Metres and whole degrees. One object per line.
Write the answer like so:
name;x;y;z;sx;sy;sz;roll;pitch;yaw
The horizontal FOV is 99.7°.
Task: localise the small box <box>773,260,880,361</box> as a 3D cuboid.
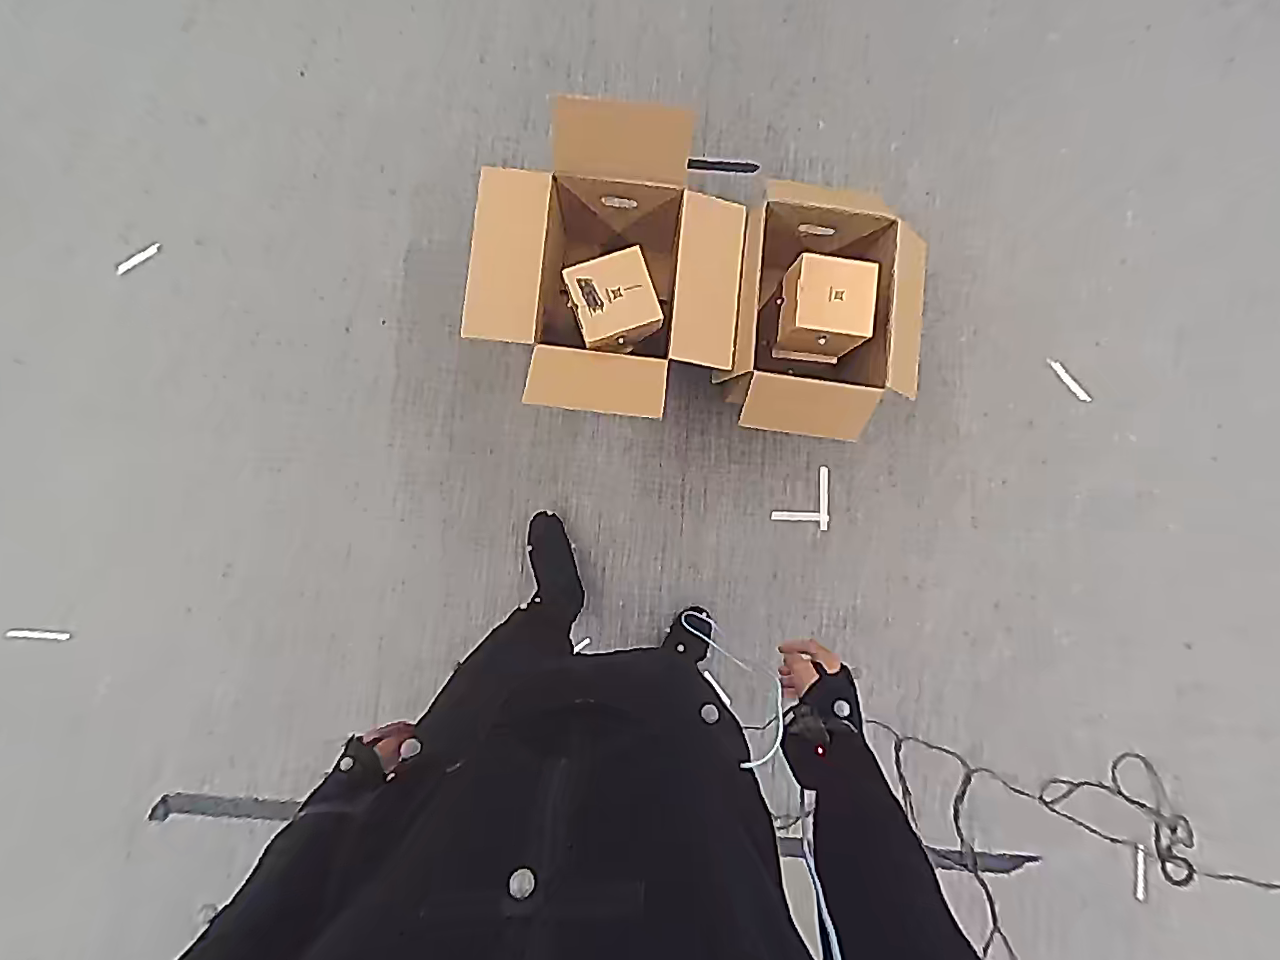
small box;0.424;-0.383;1.250;0.179;0.176;0.168;7;87;-2
